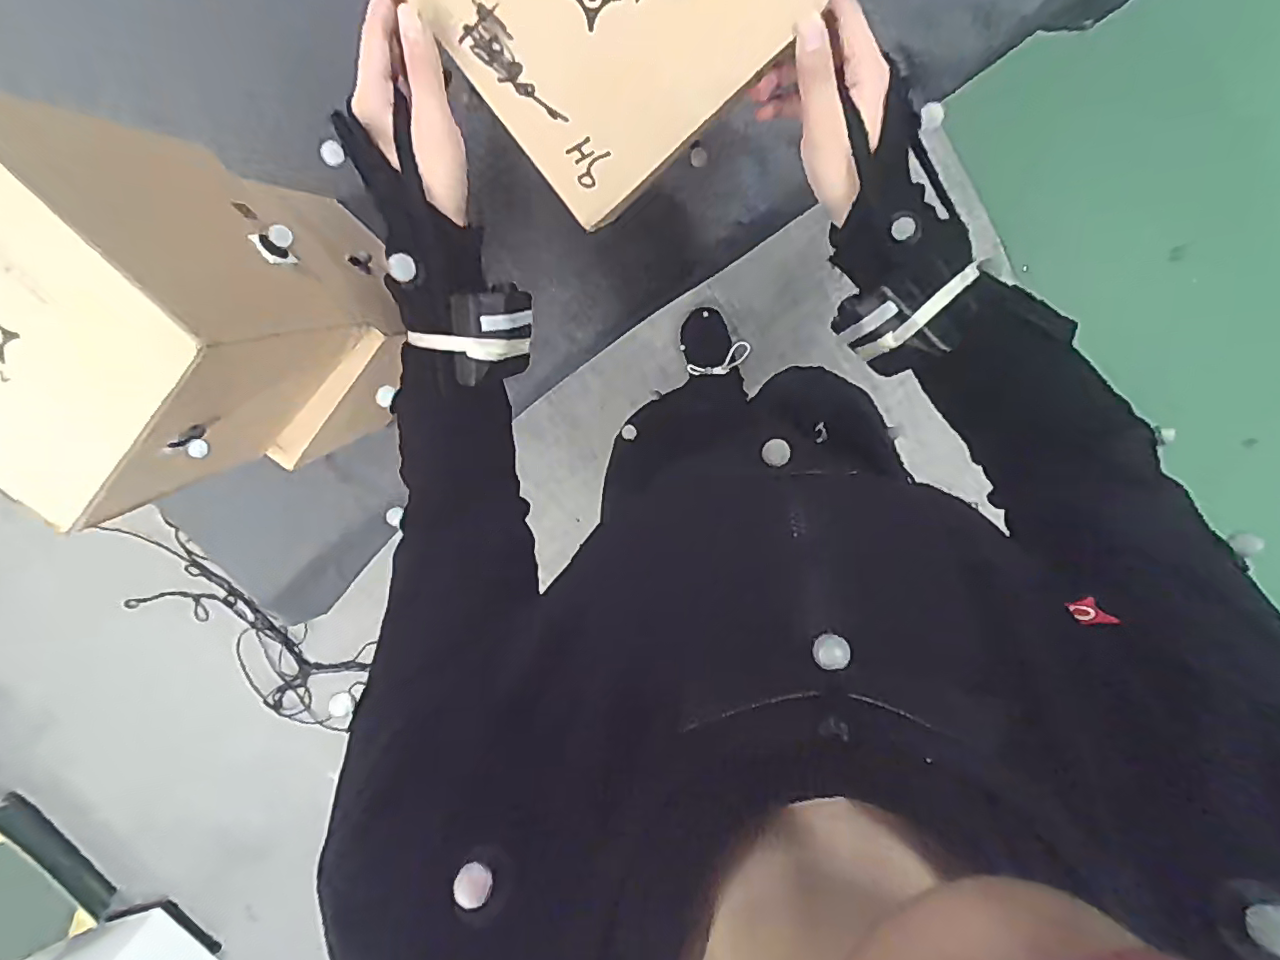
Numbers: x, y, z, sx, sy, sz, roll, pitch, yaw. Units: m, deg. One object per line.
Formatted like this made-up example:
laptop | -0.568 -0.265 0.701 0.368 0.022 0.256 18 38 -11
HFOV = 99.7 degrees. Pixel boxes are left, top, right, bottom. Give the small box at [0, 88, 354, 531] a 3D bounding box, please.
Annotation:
small box | -0.333 -0.105 0.353 0.179 0.176 0.168 -40 104 17

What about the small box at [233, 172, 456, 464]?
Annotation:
small box | -0.313 -0.149 0.509 0.179 0.176 0.168 43 109 -11
